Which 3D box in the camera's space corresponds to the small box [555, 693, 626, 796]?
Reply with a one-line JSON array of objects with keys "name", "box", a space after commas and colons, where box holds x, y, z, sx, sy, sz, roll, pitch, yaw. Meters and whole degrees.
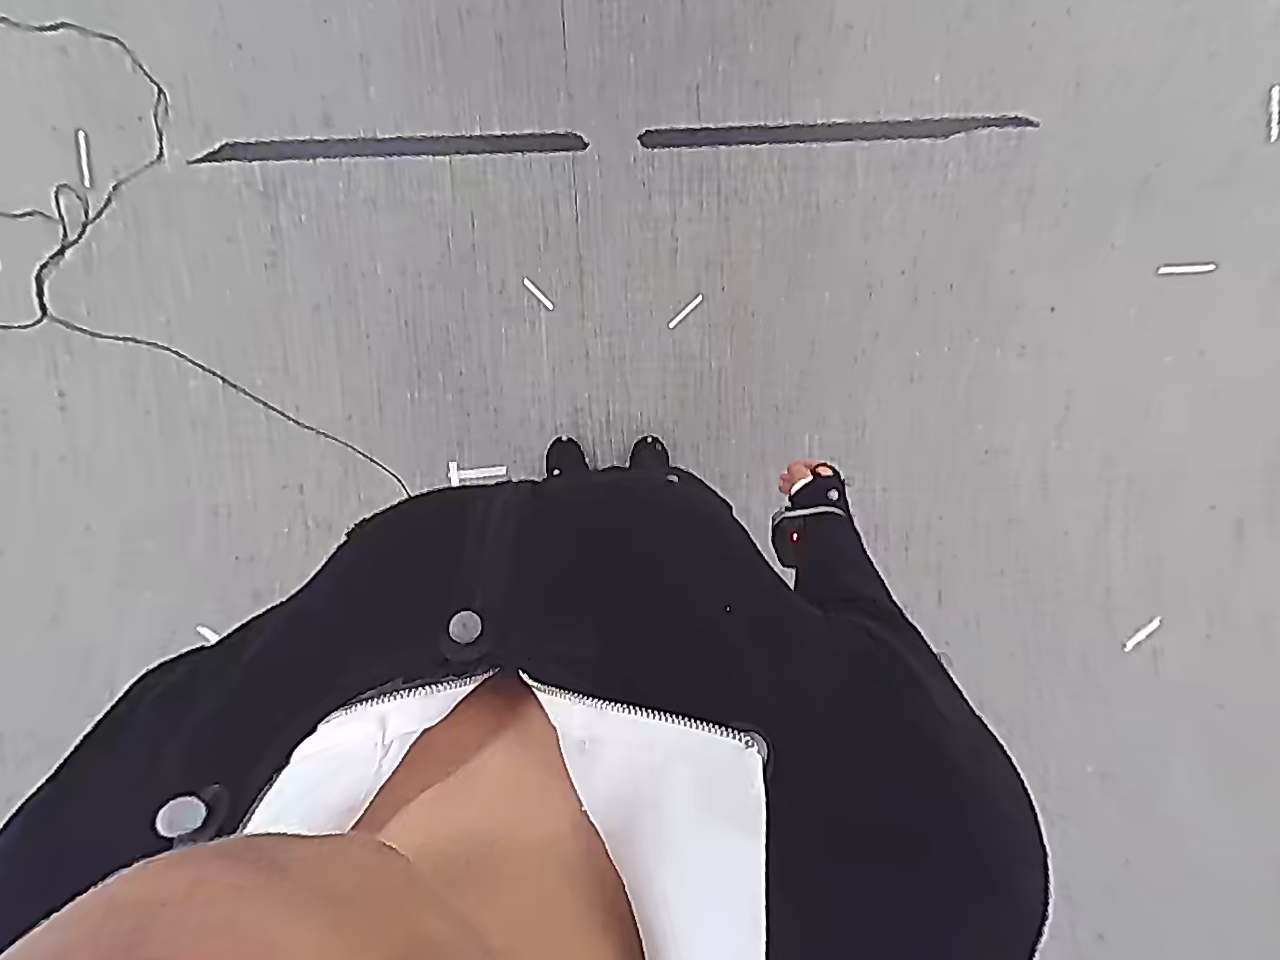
[{"name": "small box", "box": [-0.121, 0.660, 1.360, 0.168, 0.176, 0.179, 1, 95, -2]}]
